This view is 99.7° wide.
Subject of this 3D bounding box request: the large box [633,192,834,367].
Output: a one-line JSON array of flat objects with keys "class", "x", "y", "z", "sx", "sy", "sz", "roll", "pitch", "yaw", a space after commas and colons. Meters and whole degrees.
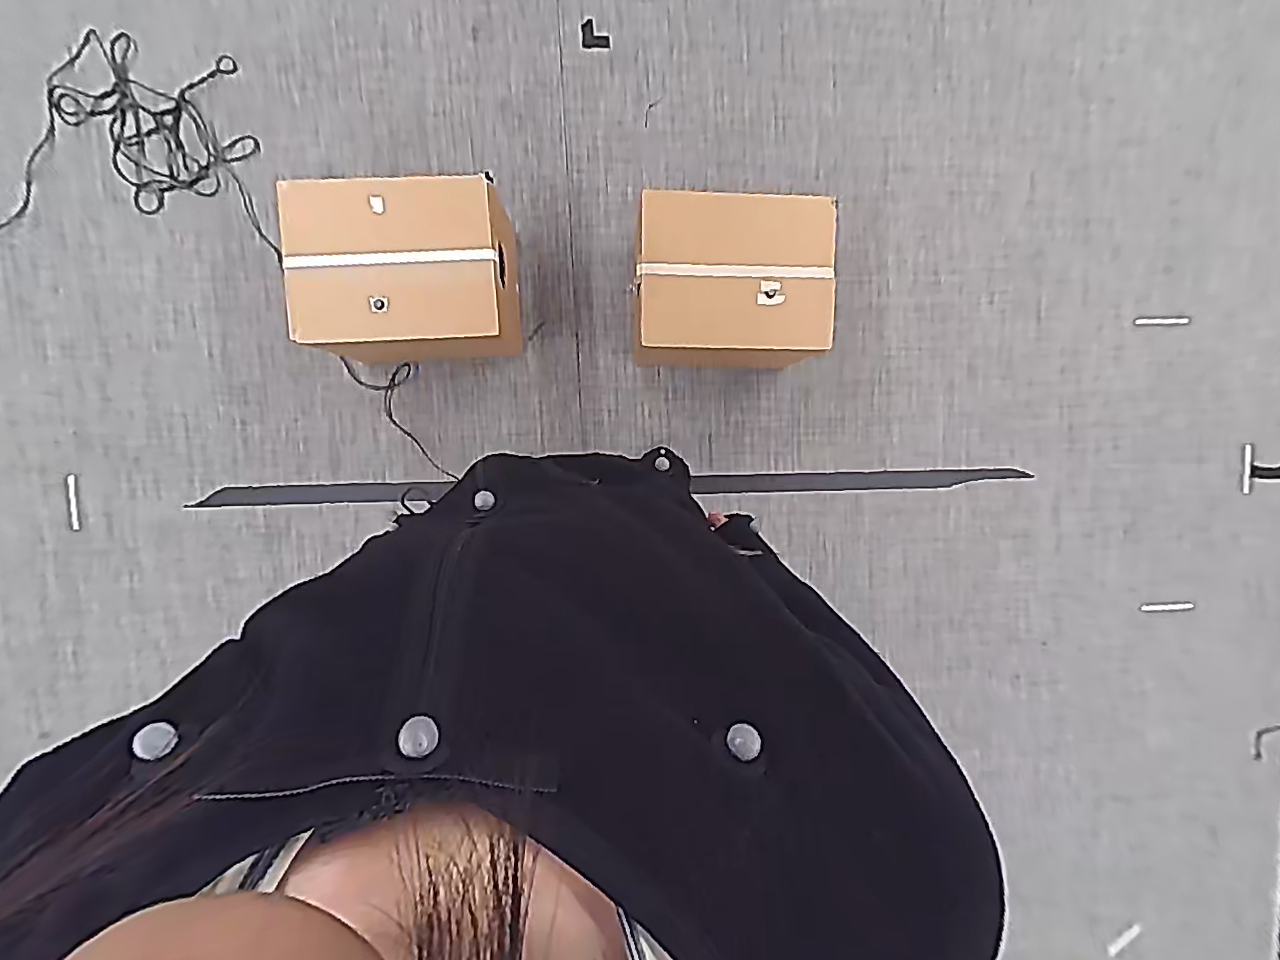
[{"class": "large box", "x": 0.193, "y": -0.442, "z": 1.267, "sx": 0.408, "sy": 0.320, "sz": 0.320, "roll": 0, "pitch": 94, "yaw": -5}]
